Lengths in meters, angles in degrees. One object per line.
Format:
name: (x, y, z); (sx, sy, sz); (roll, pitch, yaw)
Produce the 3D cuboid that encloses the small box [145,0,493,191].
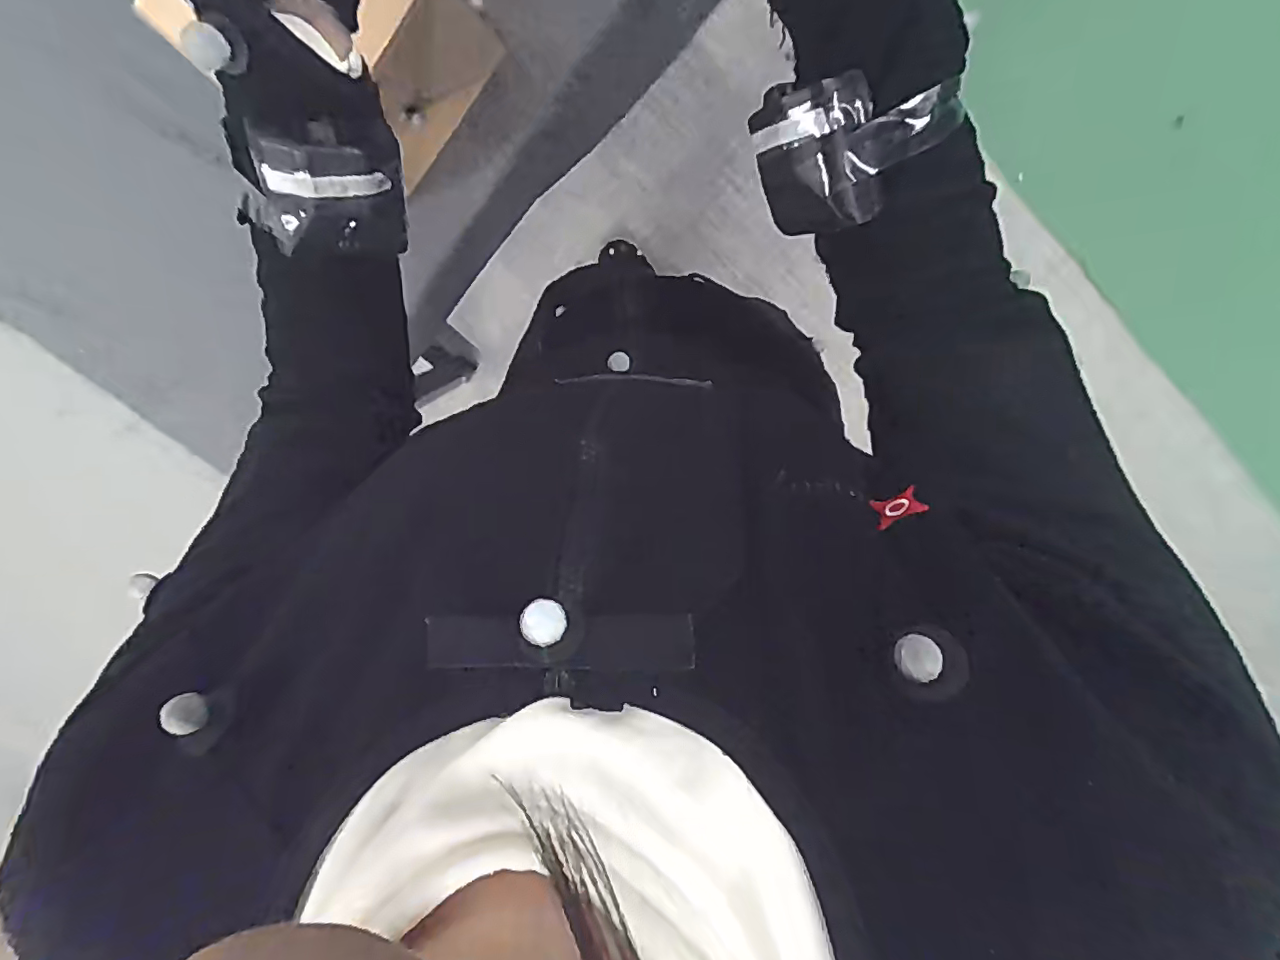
small box: (-0.253, -0.391, 0.473); (0.179, 0.176, 0.168); (-42, 100, 18)
